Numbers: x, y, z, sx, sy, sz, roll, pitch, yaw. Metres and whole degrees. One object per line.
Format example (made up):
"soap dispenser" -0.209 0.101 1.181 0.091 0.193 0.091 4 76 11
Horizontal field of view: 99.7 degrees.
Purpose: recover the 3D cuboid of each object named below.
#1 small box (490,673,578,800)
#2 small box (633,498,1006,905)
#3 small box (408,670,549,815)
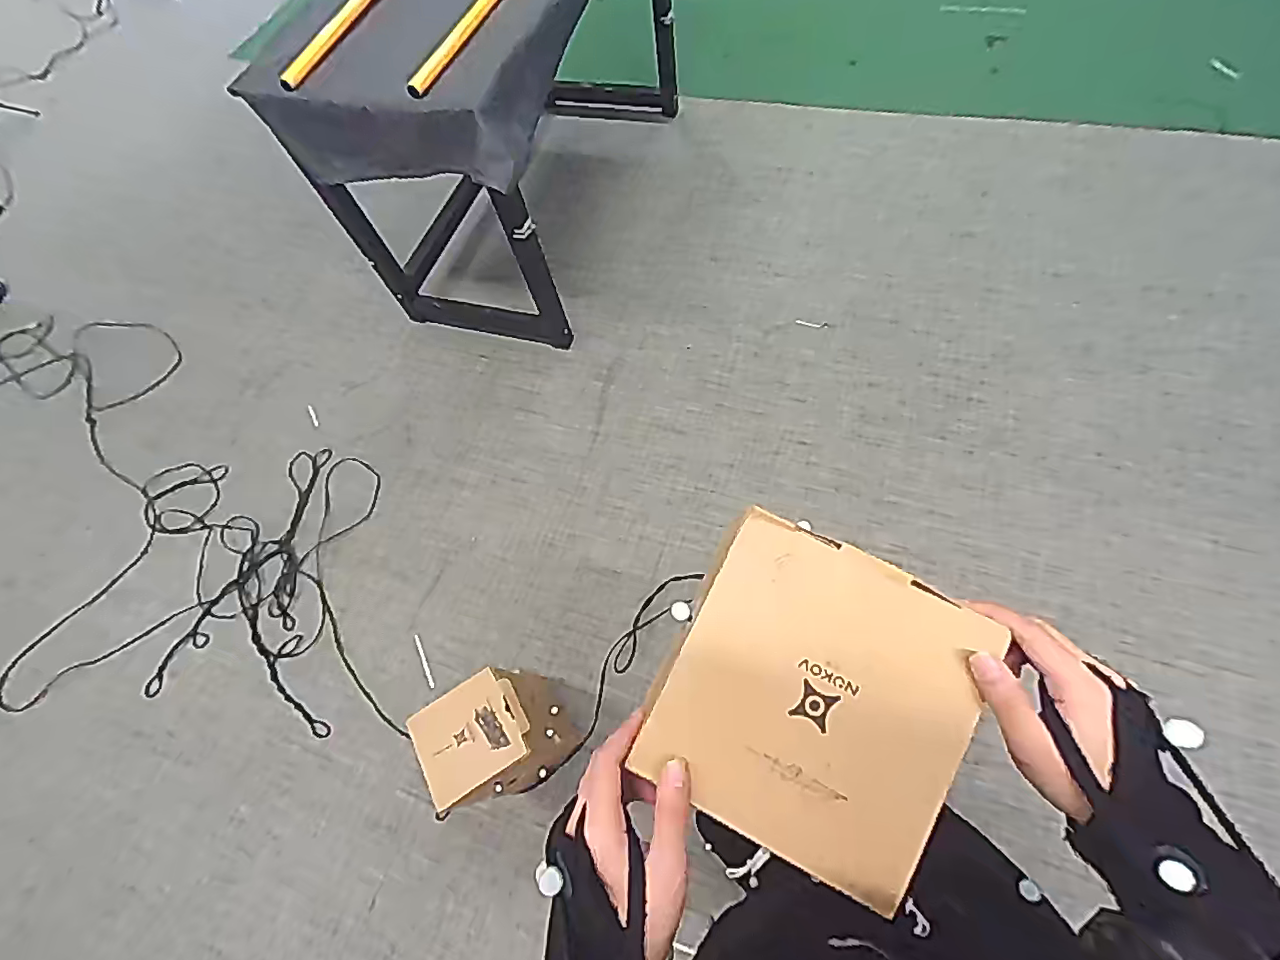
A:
"small box" -0.254 0.534 1.141 0.168 0.176 0.179 -36 65 -9
"small box" 0.110 0.133 0.392 0.168 0.176 0.179 25 85 10
"small box" -0.283 0.473 0.990 0.179 0.176 0.168 -32 64 -6
